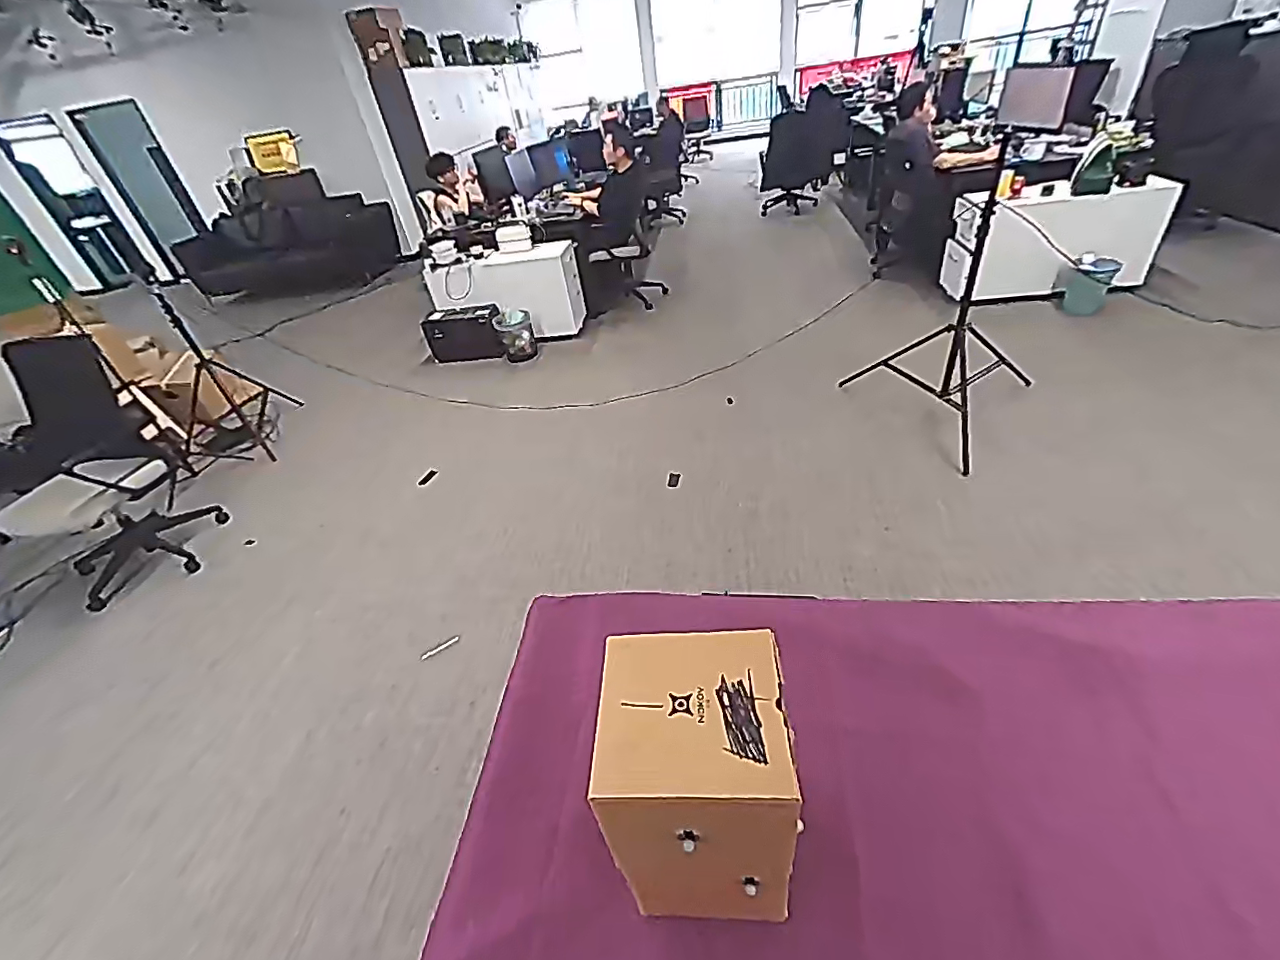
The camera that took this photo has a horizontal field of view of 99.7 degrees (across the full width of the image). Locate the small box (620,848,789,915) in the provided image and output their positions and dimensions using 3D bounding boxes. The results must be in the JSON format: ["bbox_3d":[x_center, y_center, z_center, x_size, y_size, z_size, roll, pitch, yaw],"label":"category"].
[{"bbox_3d":[0.080,0.402,0.657,0.179,0.176,0.168,-4,37,7],"label":"small box"}]

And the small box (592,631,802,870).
[{"bbox_3d":[0.059,0.275,0.555,0.179,0.176,0.168,-4,37,7],"label":"small box"}]
